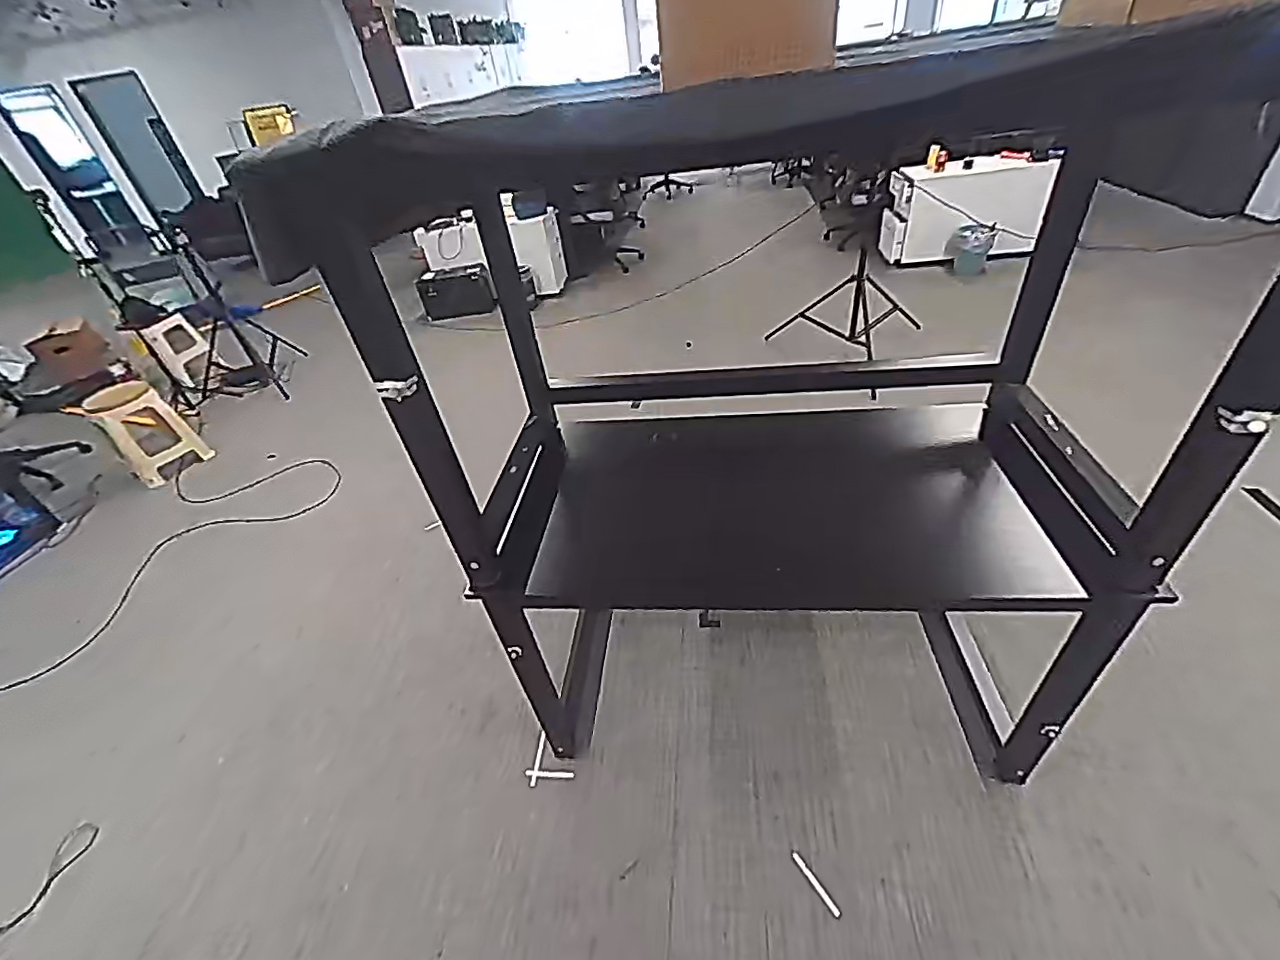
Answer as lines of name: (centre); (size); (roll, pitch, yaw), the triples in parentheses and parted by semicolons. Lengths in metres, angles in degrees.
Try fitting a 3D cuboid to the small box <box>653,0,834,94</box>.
small box: (0.102, -0.517, 0.567); (0.179, 0.176, 0.168); (-3, 37, 6)
